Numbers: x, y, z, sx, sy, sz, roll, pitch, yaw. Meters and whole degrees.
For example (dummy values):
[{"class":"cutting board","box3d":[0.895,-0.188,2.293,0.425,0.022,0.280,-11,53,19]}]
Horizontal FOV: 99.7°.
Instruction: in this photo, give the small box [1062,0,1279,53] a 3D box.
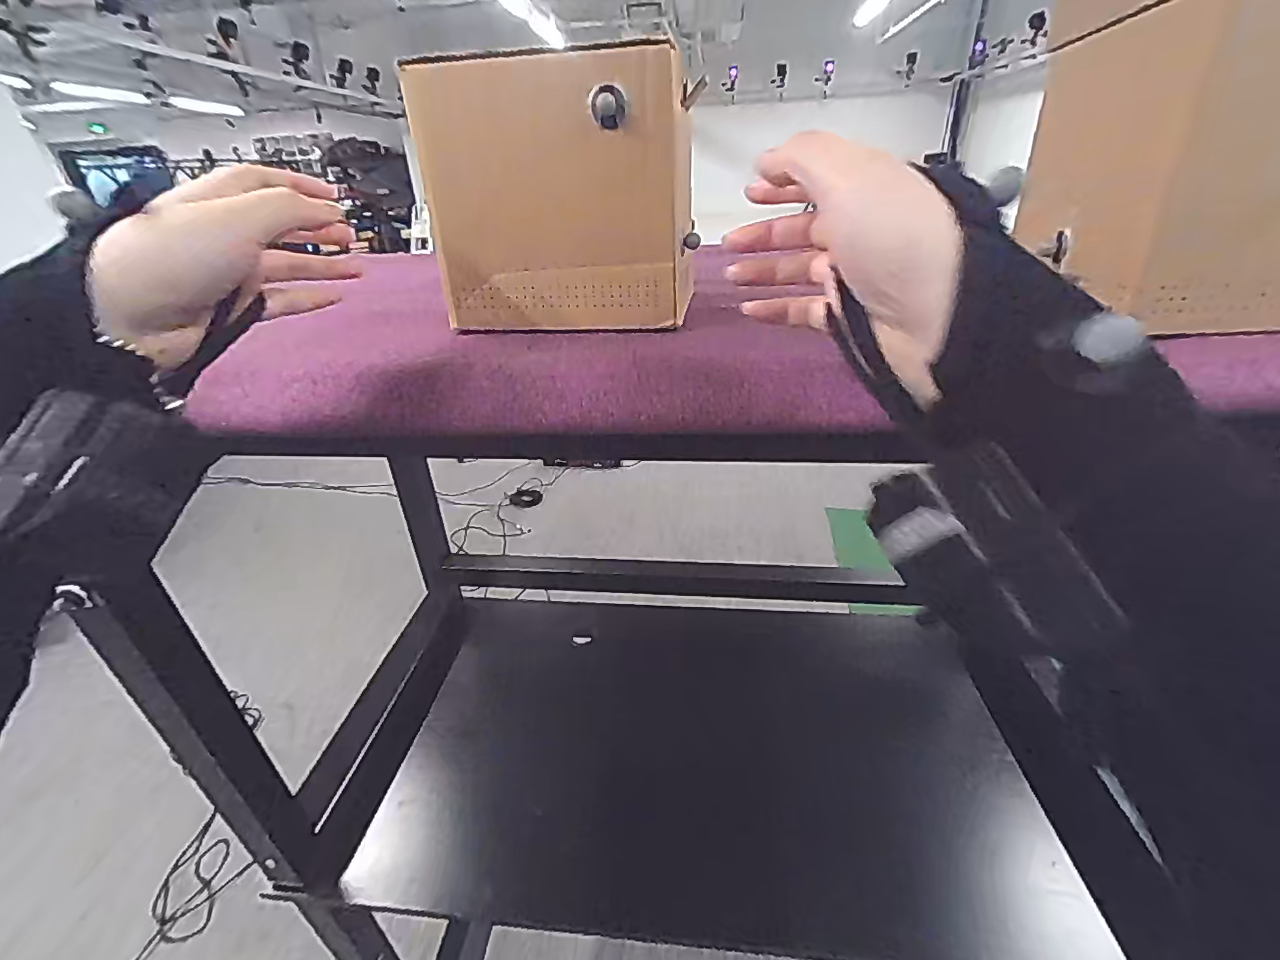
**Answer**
[{"class":"small box","box3d":[0.356,-0.338,0.262,0.168,0.176,0.179,1,28,9]}]

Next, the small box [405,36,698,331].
[{"class":"small box","box3d":[-0.047,-0.217,0.426,0.179,0.176,0.168,2,28,8]}]
